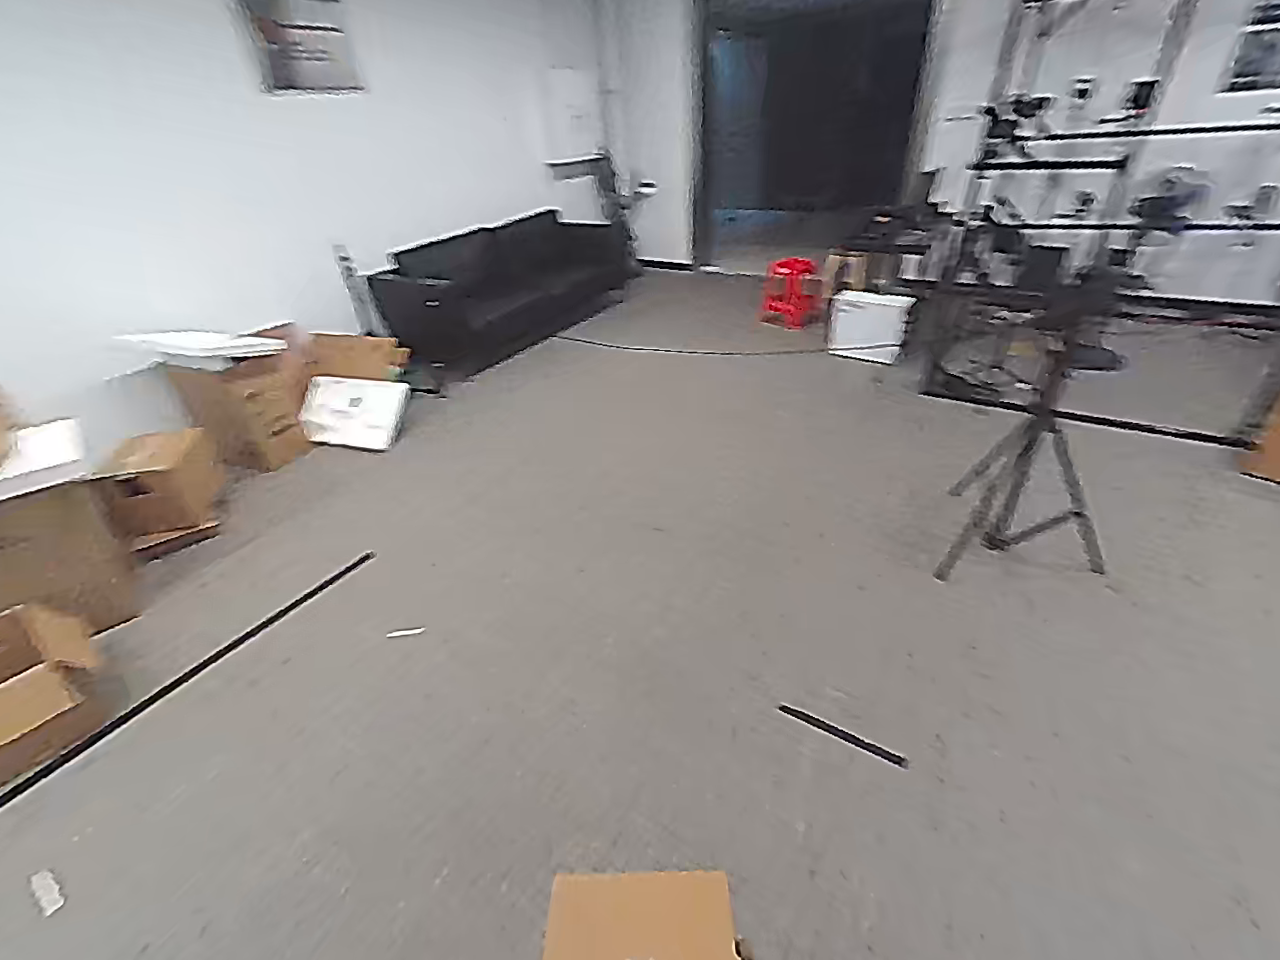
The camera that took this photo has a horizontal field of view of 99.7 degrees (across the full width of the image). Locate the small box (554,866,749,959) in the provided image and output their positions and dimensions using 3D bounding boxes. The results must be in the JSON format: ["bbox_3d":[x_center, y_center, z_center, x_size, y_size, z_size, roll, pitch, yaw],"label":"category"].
[{"bbox_3d":[0.014,0.476,0.471,0.168,0.176,0.179,-4,31,2],"label":"small box"}]
